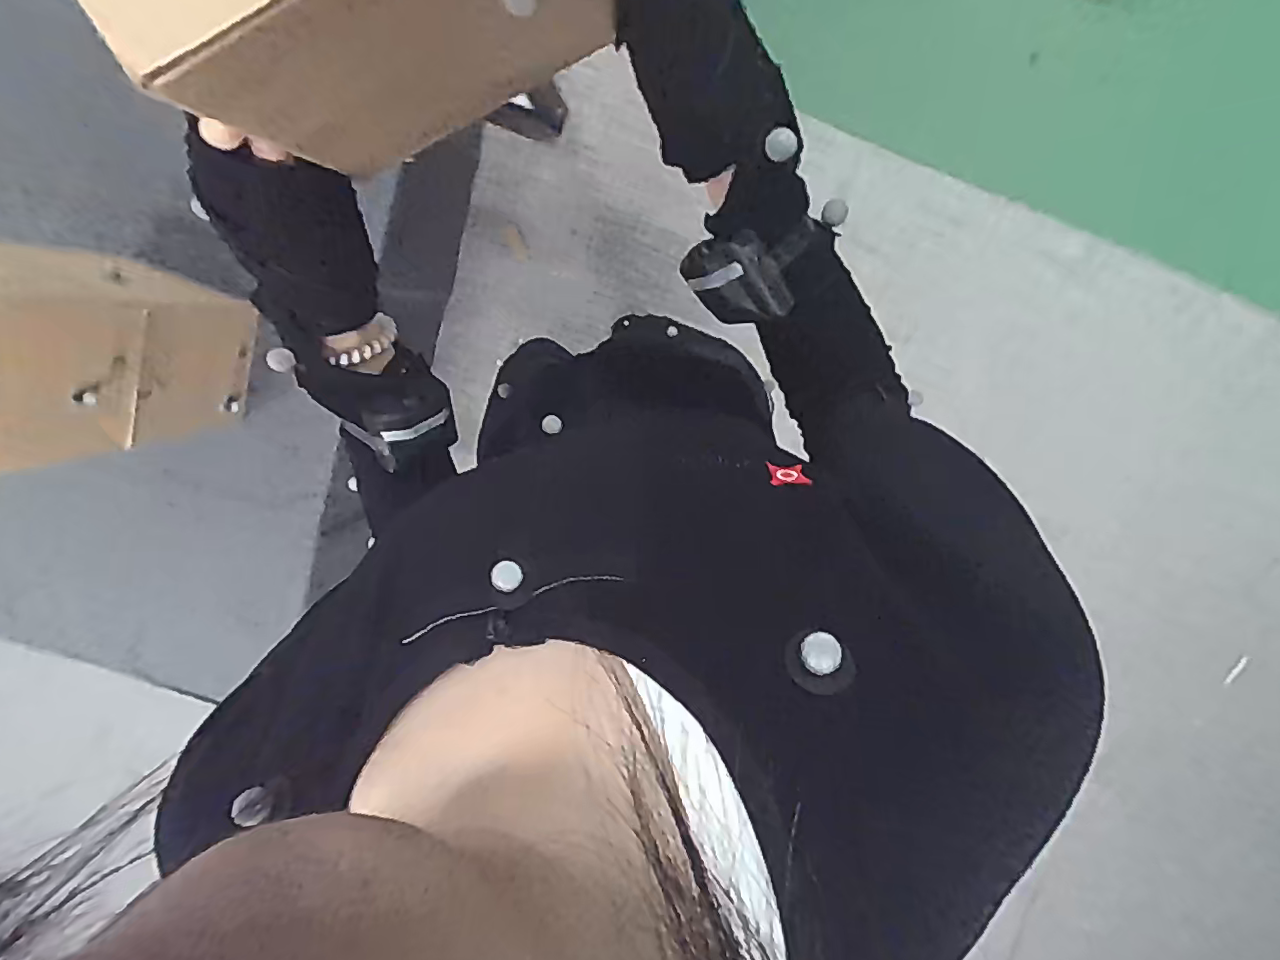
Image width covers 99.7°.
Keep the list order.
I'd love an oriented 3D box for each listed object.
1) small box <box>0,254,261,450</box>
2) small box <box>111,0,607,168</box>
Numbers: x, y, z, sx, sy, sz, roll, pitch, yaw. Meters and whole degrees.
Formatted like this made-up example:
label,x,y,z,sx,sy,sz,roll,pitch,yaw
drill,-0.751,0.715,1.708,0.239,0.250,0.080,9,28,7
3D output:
label,x,y,z,sx,sy,sz,roll,pitch,yaw
small box,-0.607,-0.156,0.658,0.179,0.176,0.168,19,106,-2
small box,-0.120,-0.264,0.225,0.179,0.176,0.168,-24,109,7
